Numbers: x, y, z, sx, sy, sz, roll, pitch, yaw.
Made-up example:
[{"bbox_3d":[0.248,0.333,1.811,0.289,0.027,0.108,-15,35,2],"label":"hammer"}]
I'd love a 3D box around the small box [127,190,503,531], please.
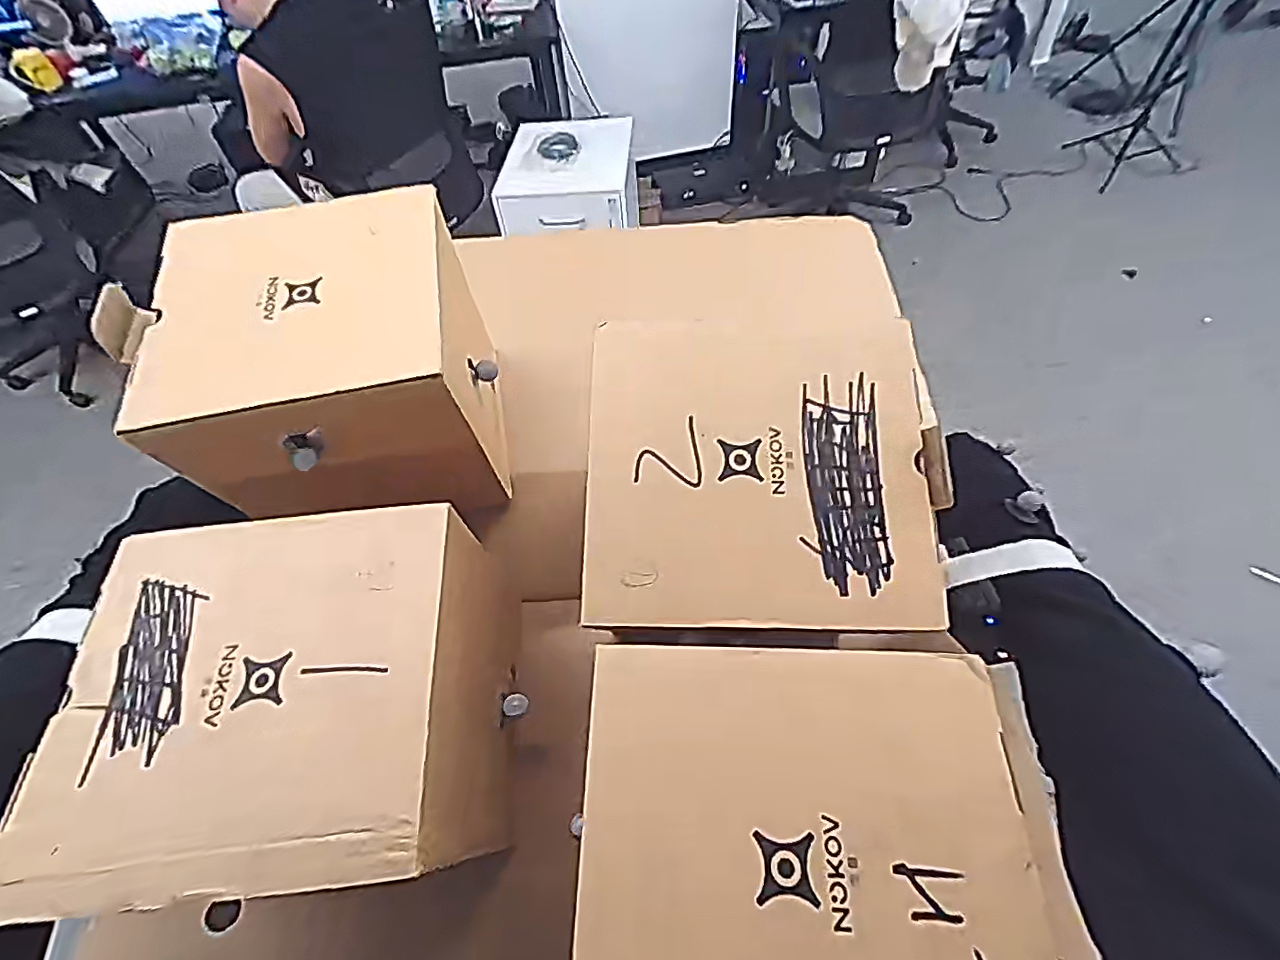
[{"bbox_3d":[-0.208,-0.077,0.406,0.179,0.176,0.168,-12,63,-3],"label":"small box"}]
